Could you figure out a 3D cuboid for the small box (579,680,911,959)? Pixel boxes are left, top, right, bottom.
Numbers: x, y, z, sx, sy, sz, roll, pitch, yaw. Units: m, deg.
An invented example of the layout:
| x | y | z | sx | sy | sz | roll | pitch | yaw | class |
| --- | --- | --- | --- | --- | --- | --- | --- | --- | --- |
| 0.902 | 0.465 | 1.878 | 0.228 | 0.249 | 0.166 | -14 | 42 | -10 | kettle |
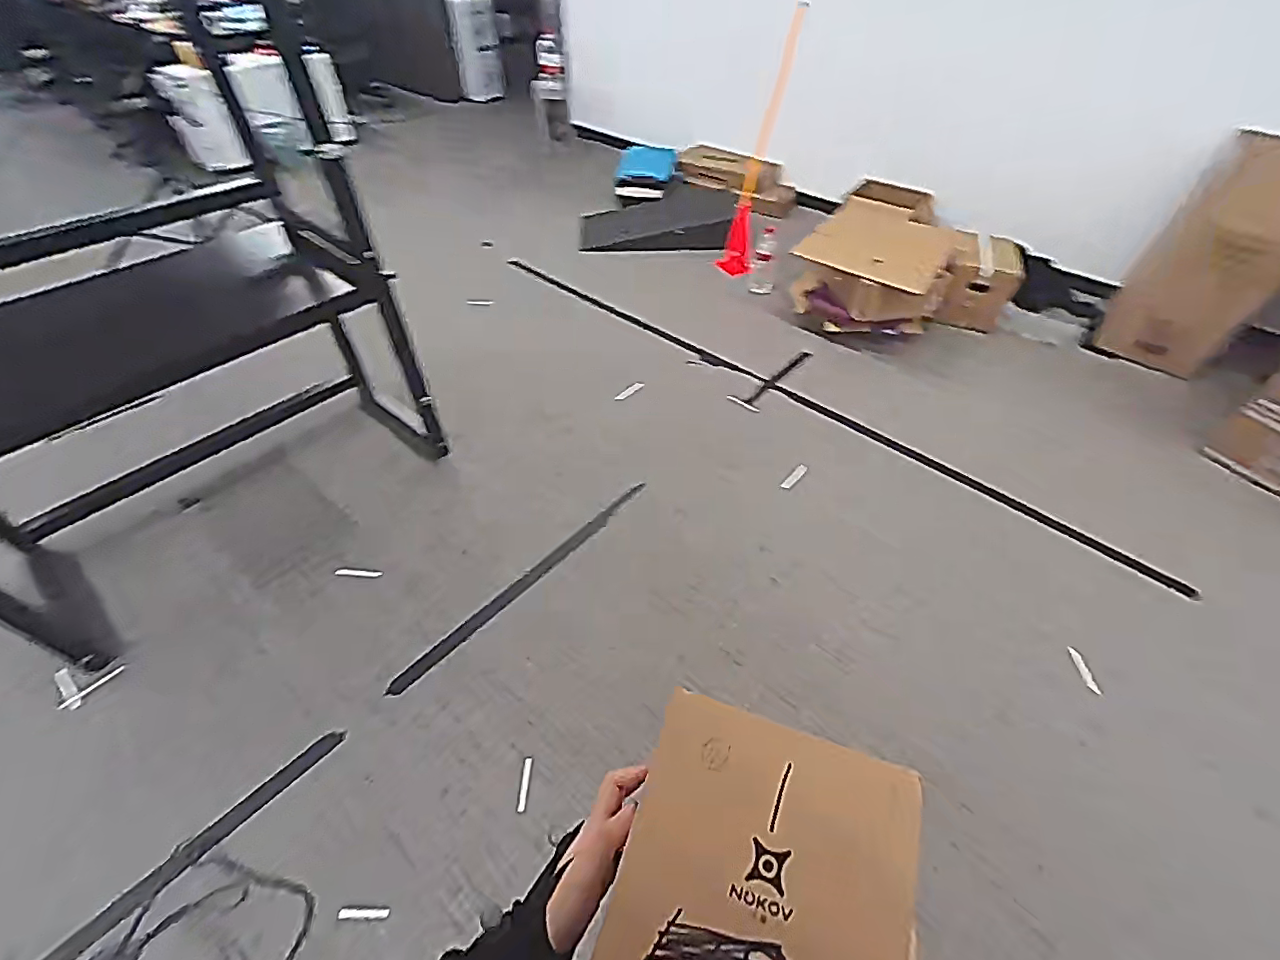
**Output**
| x | y | z | sx | sy | sz | roll | pitch | yaw | class |
| --- | --- | --- | --- | --- | --- | --- | --- | --- | --- |
| 0.072 | 0.271 | 0.387 | 0.168 | 0.176 | 0.179 | 15 | 60 | 12 | small box |
